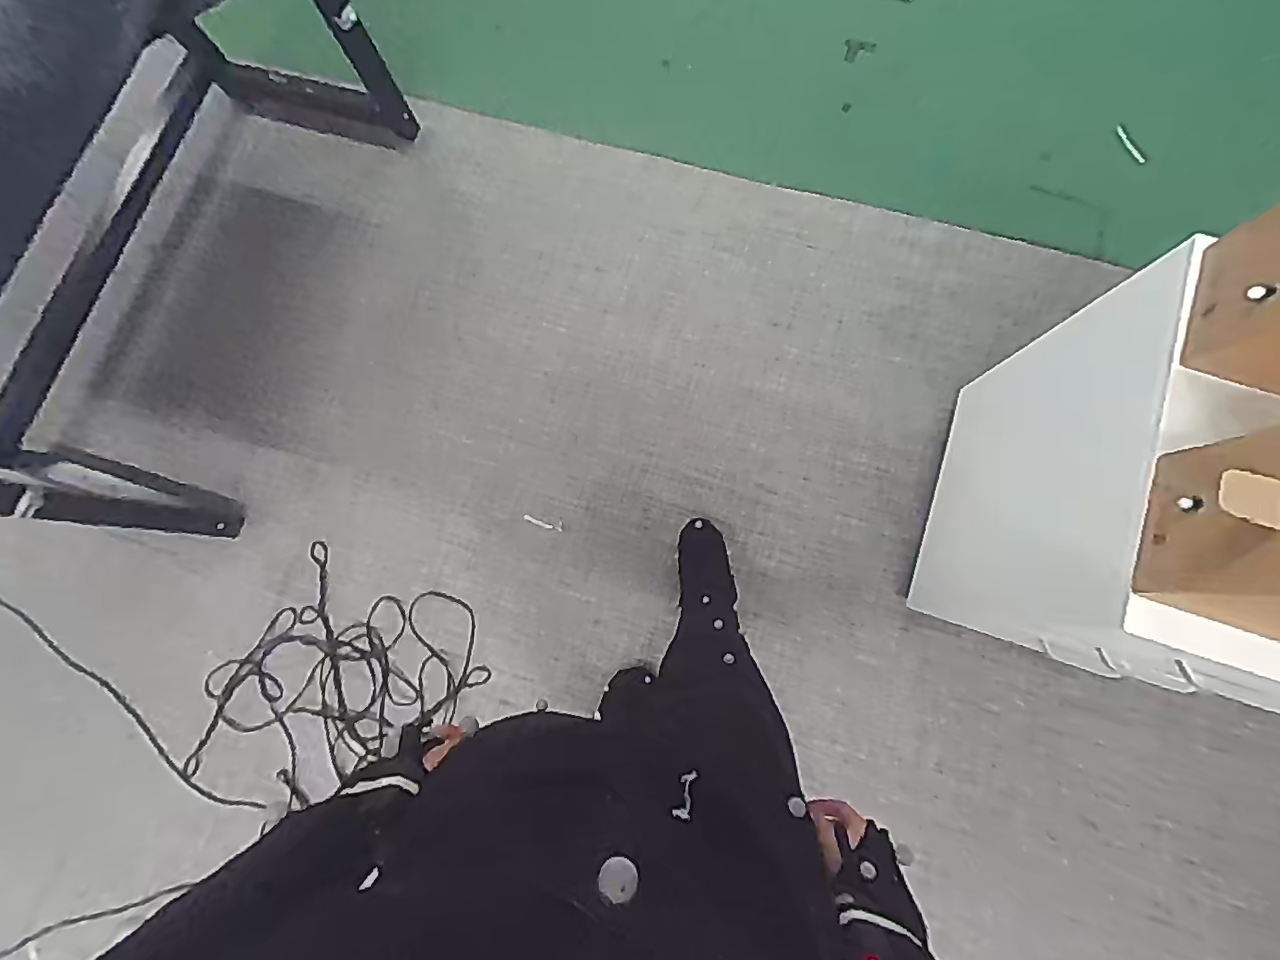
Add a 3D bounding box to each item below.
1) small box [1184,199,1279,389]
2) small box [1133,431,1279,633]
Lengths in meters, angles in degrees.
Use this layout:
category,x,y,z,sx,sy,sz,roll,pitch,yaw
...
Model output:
category,x,y,z,sx,sy,sz,roll,pitch,yaw
small box,0.736,-0.202,0.560,0.179,0.176,0.168,19,83,5
small box,0.644,0.055,0.517,0.179,0.176,0.168,19,81,6
